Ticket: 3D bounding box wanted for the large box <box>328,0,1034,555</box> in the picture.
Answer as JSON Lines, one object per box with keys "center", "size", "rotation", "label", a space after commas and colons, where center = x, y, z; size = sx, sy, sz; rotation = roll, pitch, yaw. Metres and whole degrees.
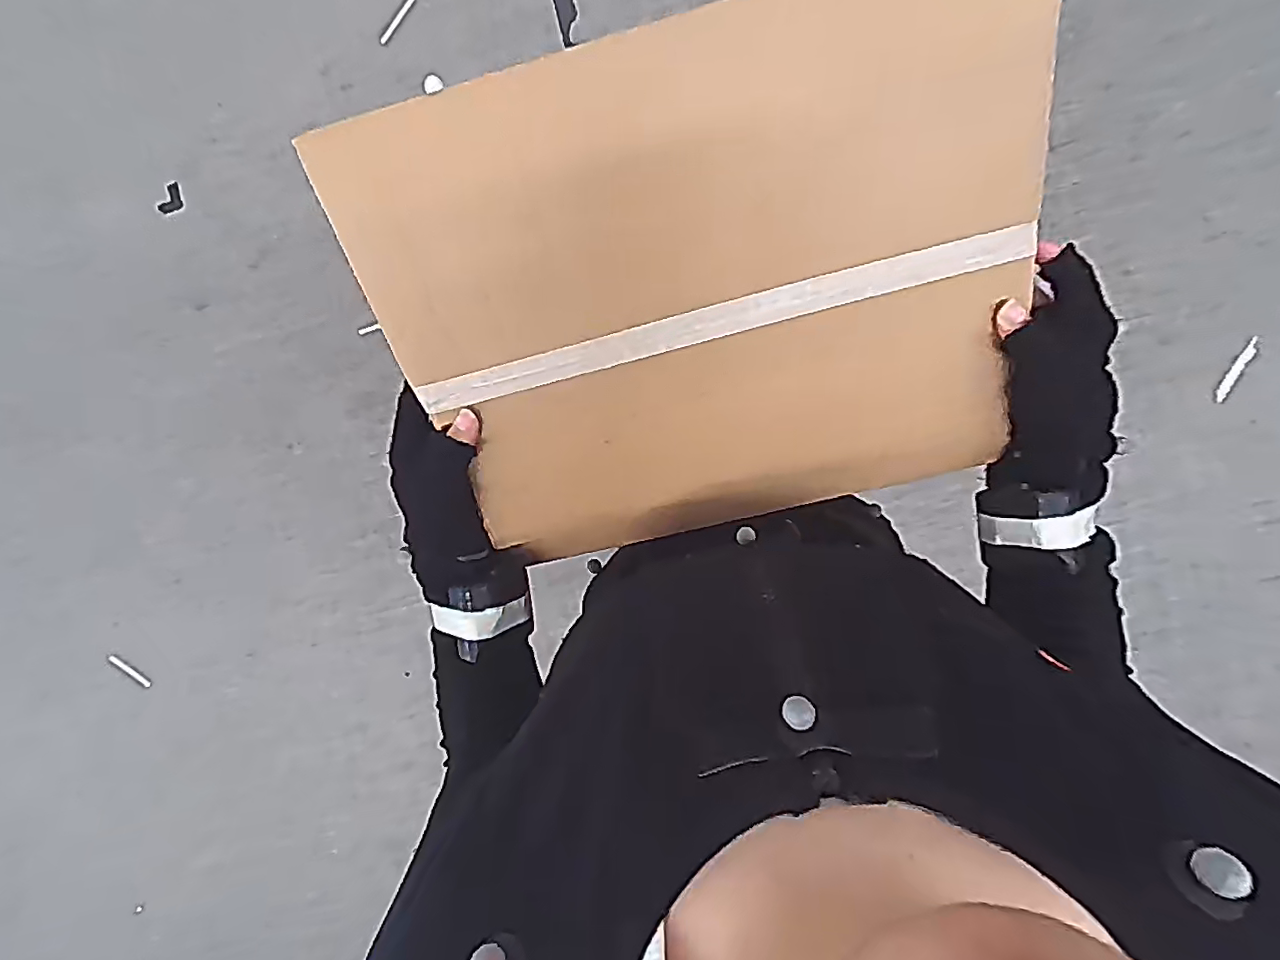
{"center": [0.040, -0.182, 0.491], "size": [0.408, 0.320, 0.320], "rotation": [-13, 120, 5], "label": "large box"}
